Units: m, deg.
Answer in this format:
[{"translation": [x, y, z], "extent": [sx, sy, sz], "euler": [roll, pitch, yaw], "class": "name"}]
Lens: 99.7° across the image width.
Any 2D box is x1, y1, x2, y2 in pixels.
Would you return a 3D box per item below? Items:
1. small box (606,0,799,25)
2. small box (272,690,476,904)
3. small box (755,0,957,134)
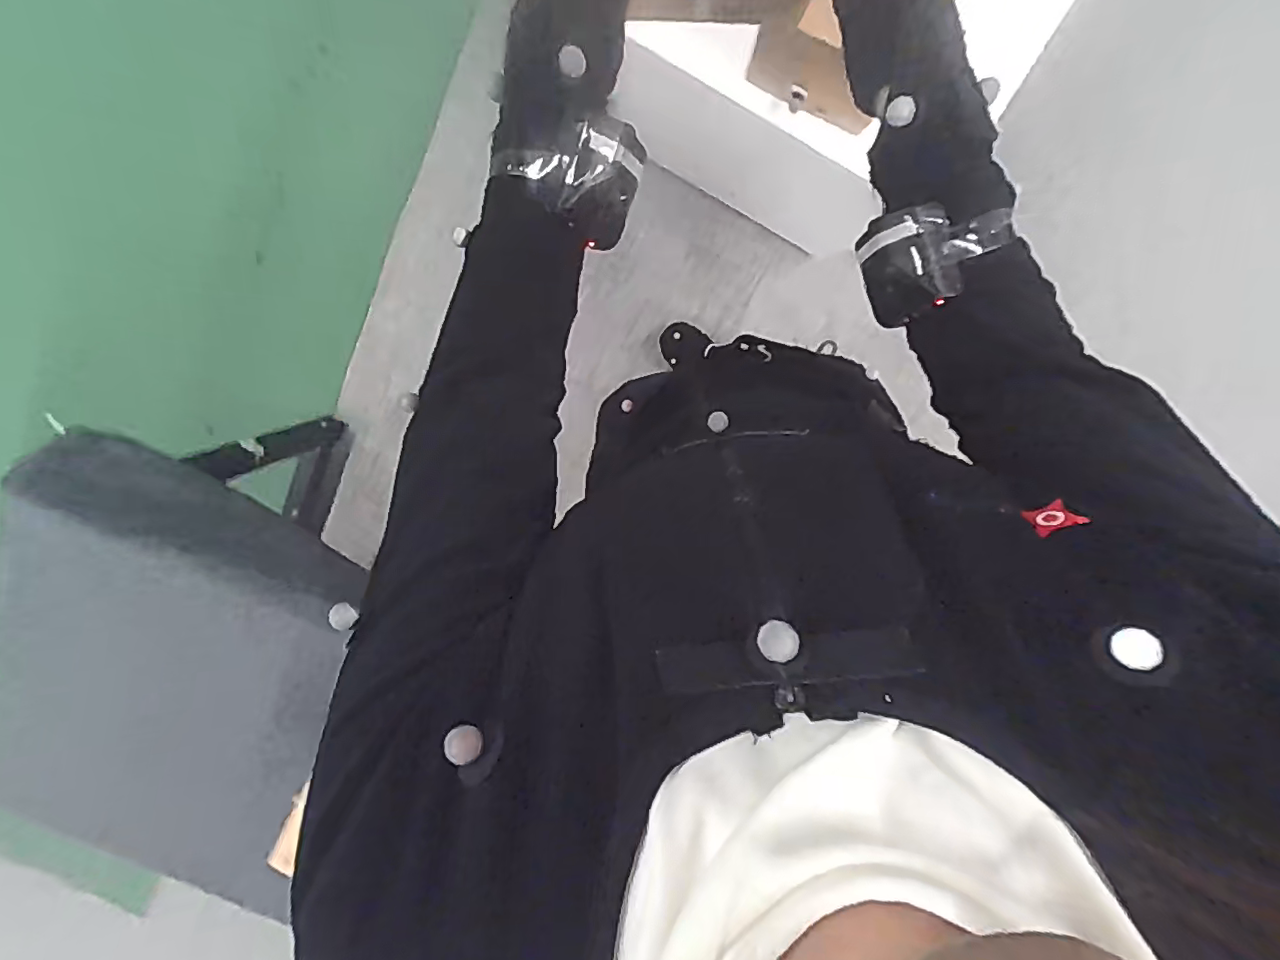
[{"translation": [0.045, -0.445, 0.352], "extent": [0.168, 0.176, 0.179], "euler": [-1, 107, 3], "class": "small box"}, {"translation": [-0.363, 0.437, 0.769], "extent": [0.179, 0.176, 0.168], "euler": [31, 107, -5], "class": "small box"}, {"translation": [0.235, -0.516, 0.577], "extent": [0.168, 0.176, 0.179], "euler": [24, 108, -1], "class": "small box"}]
